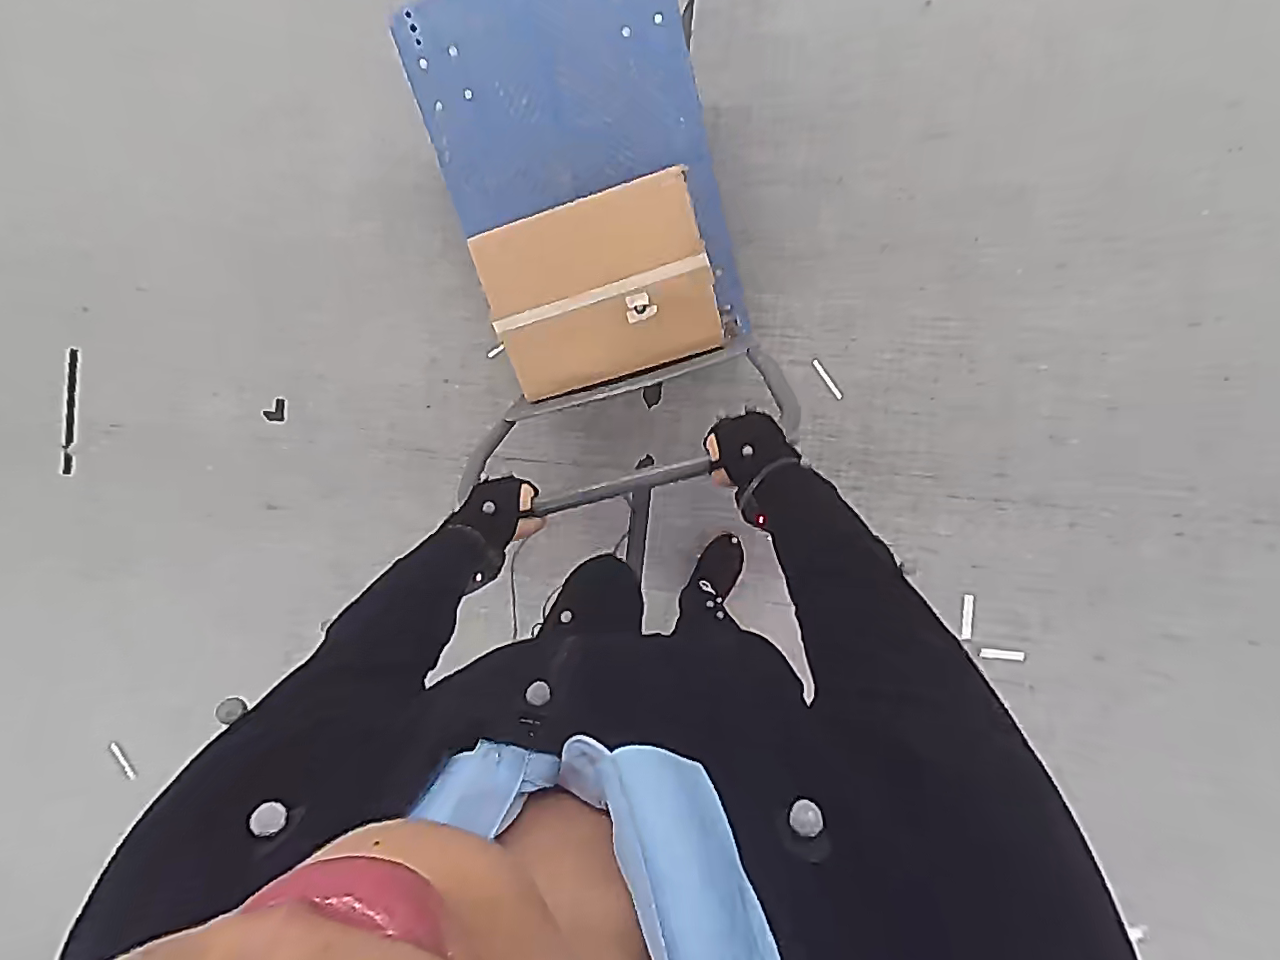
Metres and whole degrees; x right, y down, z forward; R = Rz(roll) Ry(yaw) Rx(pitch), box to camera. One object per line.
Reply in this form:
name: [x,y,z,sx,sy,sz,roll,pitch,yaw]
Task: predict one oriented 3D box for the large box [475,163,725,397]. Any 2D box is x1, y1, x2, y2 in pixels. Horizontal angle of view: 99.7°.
large box: [-0.068,-0.404,1.144,0.408,0.320,0.320,-16,109,7]
